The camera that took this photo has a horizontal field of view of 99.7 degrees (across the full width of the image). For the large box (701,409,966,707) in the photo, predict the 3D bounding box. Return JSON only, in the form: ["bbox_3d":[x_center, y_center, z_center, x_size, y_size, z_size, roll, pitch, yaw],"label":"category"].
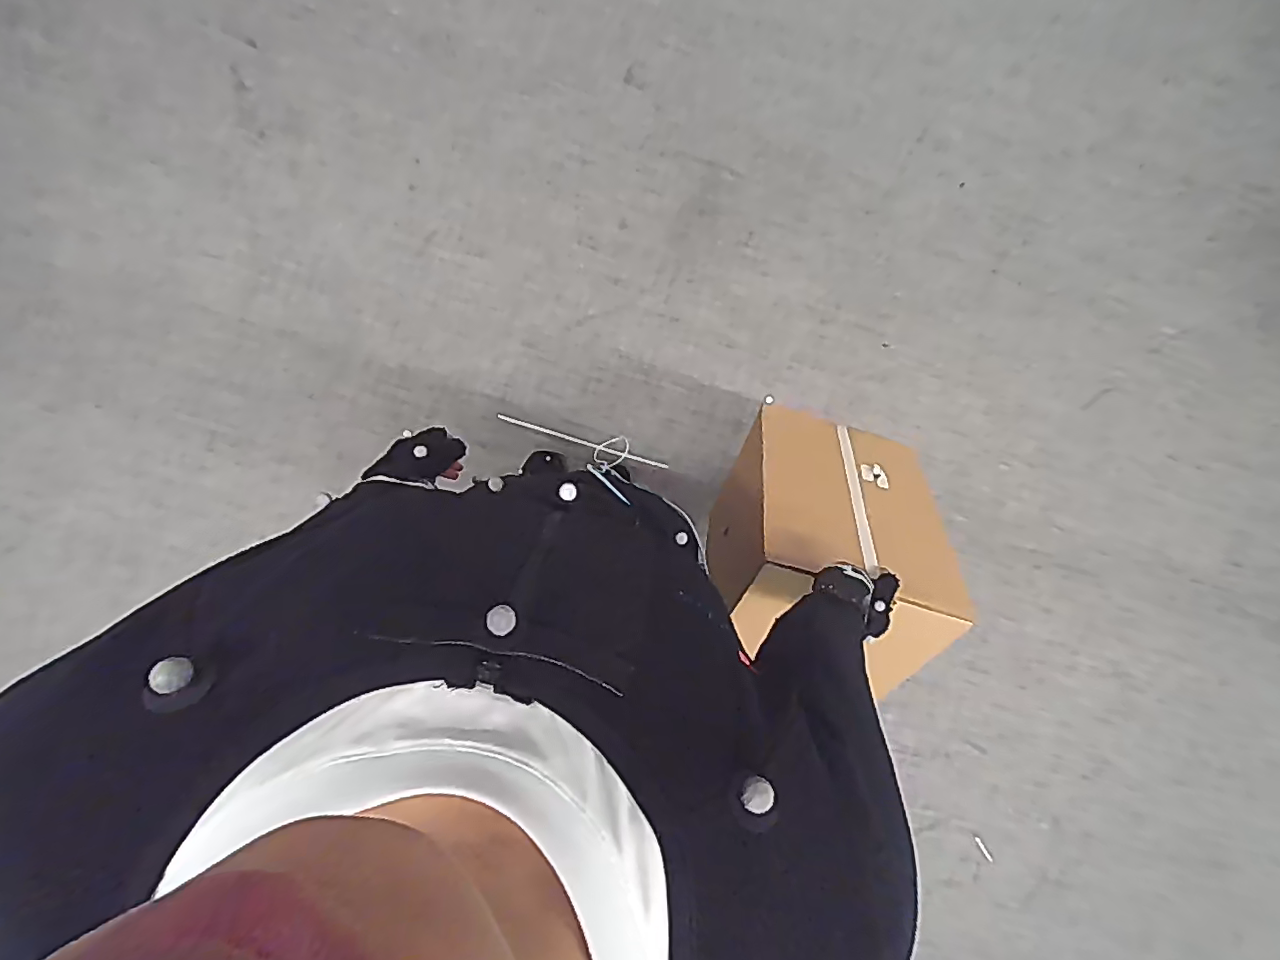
[{"bbox_3d":[0.312,0.138,1.003,0.320,0.408,0.320,18,131,-3],"label":"large box"}]
